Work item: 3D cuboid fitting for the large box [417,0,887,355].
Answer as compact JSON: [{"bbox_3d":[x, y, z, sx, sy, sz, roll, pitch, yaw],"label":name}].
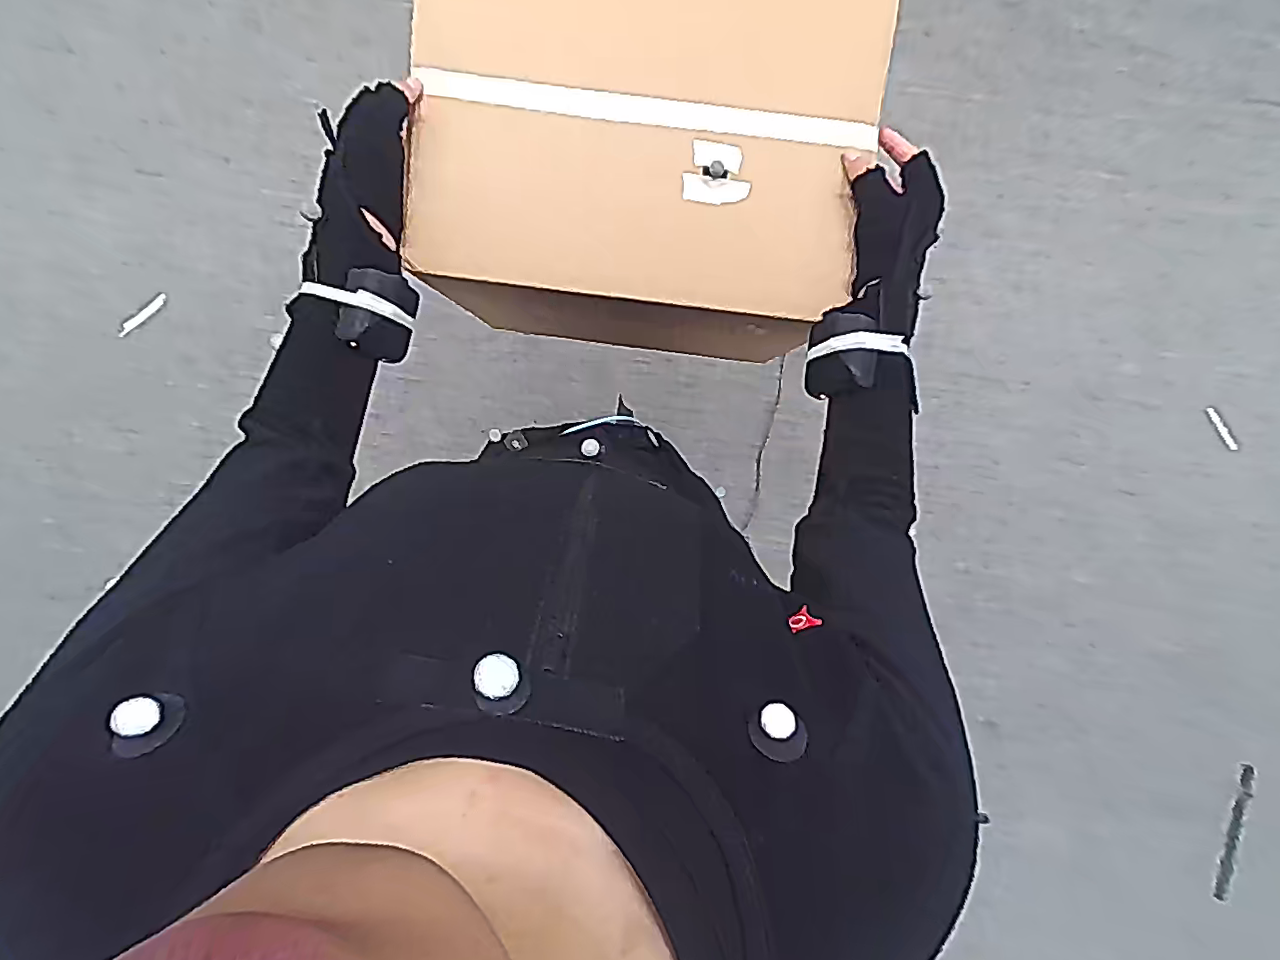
[{"bbox_3d":[0.003,-0.339,0.631,0.408,0.320,0.320,7,97,-2],"label":"large box"}]
